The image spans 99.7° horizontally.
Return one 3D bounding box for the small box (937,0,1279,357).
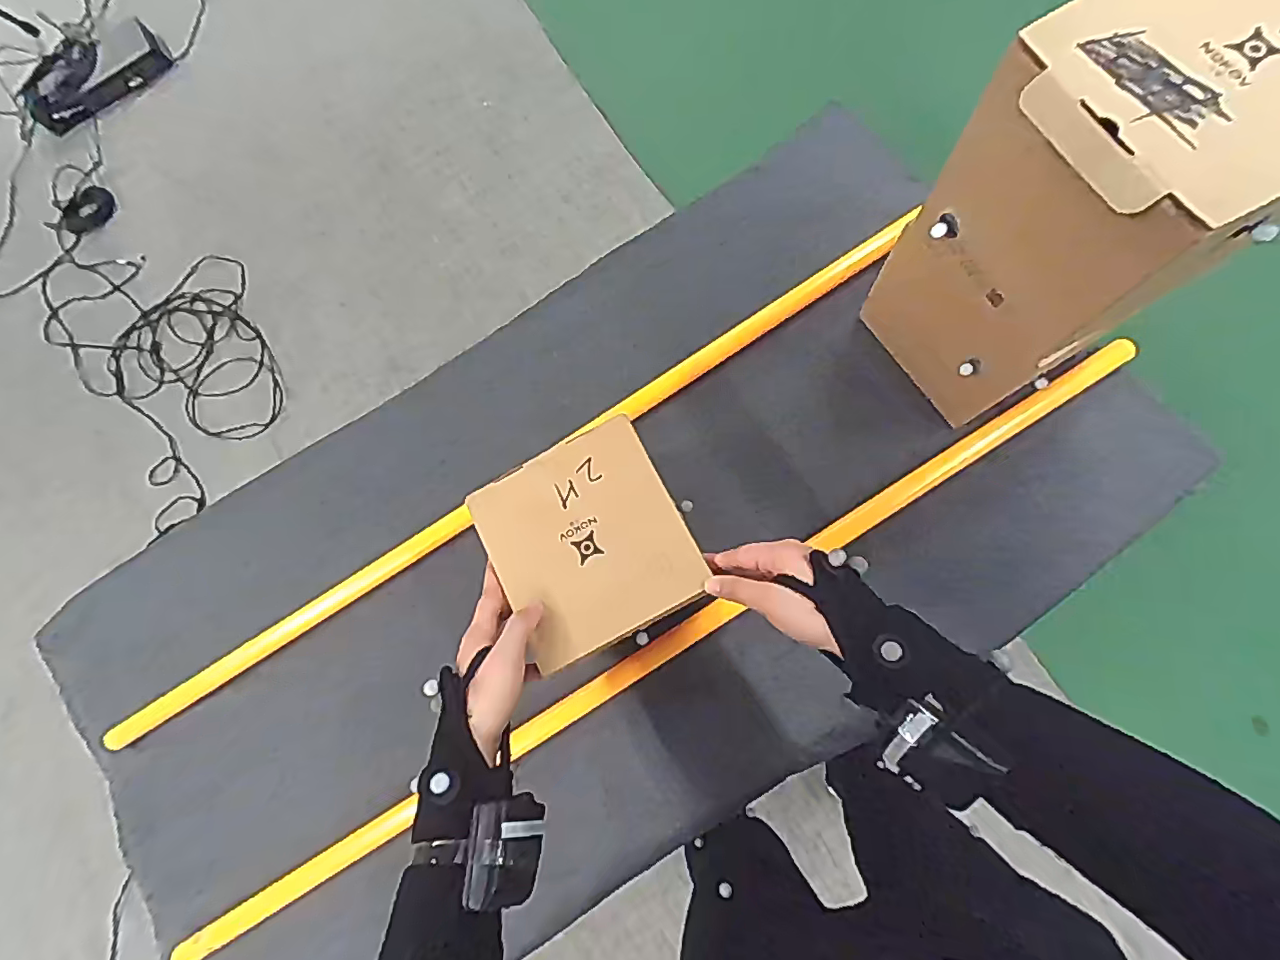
[{"bbox_3d":[0.346,-0.217,0.382,0.179,0.176,0.168,-28,76,0],"label":"small box"}]
